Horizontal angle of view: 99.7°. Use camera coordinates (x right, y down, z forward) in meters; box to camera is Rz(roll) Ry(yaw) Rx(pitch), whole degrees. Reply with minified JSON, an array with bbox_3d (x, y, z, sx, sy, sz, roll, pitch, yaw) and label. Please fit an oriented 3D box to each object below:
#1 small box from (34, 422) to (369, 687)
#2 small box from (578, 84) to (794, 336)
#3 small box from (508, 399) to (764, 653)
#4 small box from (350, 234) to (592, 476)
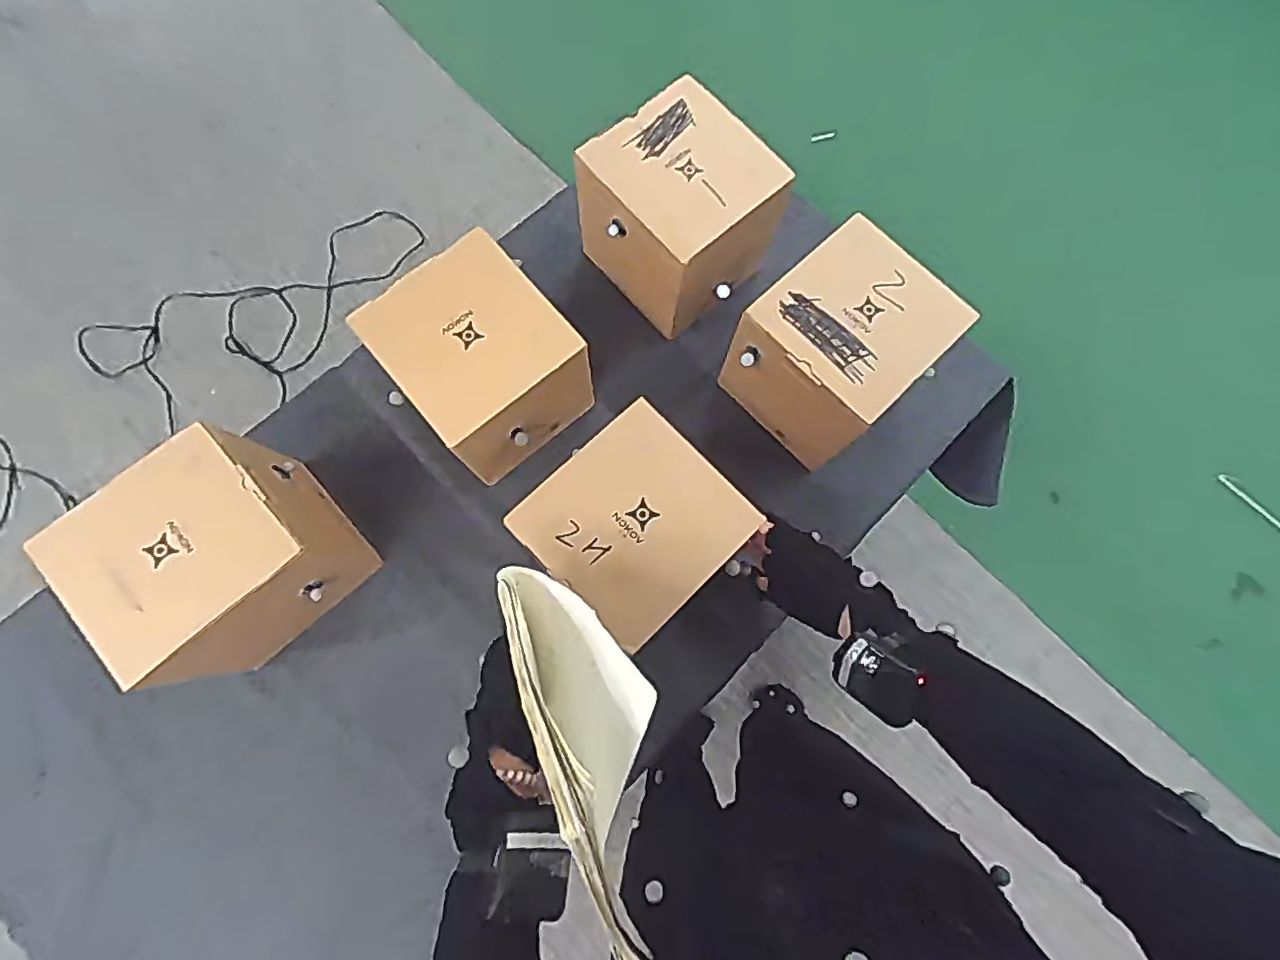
[{"bbox_3d":[-0.409,0.076,0.547,0.179,0.176,0.168,-41,81,-11],"label":"small box"},{"bbox_3d":[0.046,-0.311,0.653,0.168,0.176,0.179,-40,81,-10],"label":"small box"},{"bbox_3d":[-0.009,0.055,0.558,0.179,0.176,0.168,-40,80,-14],"label":"small box"},{"bbox_3d":[-0.169,-0.122,0.604,0.168,0.176,0.179,-40,80,-10],"label":"small box"}]
